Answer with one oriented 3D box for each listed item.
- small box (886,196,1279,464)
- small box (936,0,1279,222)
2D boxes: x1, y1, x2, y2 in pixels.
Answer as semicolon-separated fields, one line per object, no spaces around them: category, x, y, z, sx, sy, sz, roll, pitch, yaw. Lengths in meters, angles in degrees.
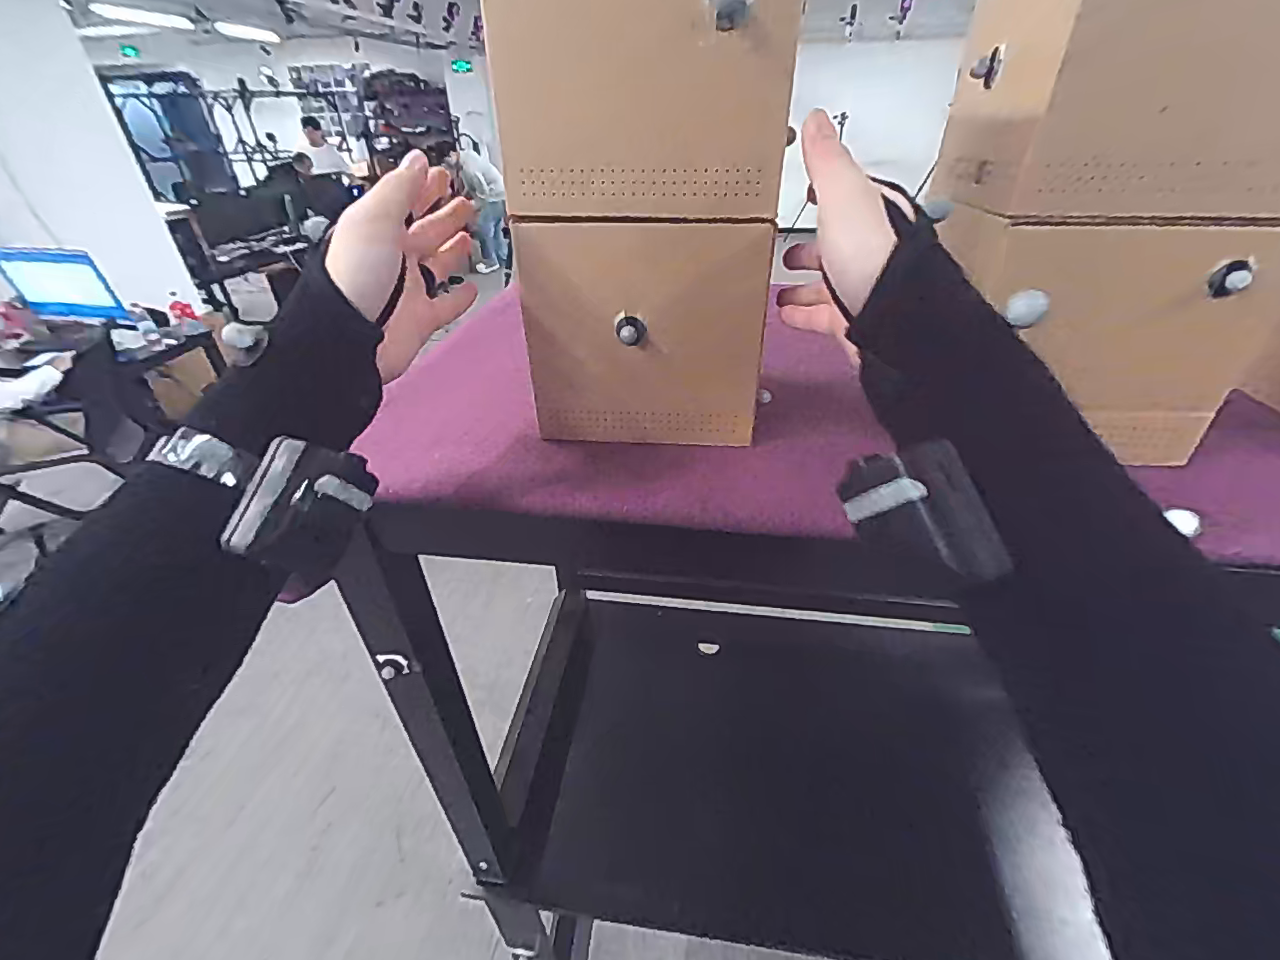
small box;0.312;-0.125;0.429;0.179;0.176;0.168;4;34;6
small box;0.310;-0.263;0.340;0.179;0.176;0.168;4;34;7
